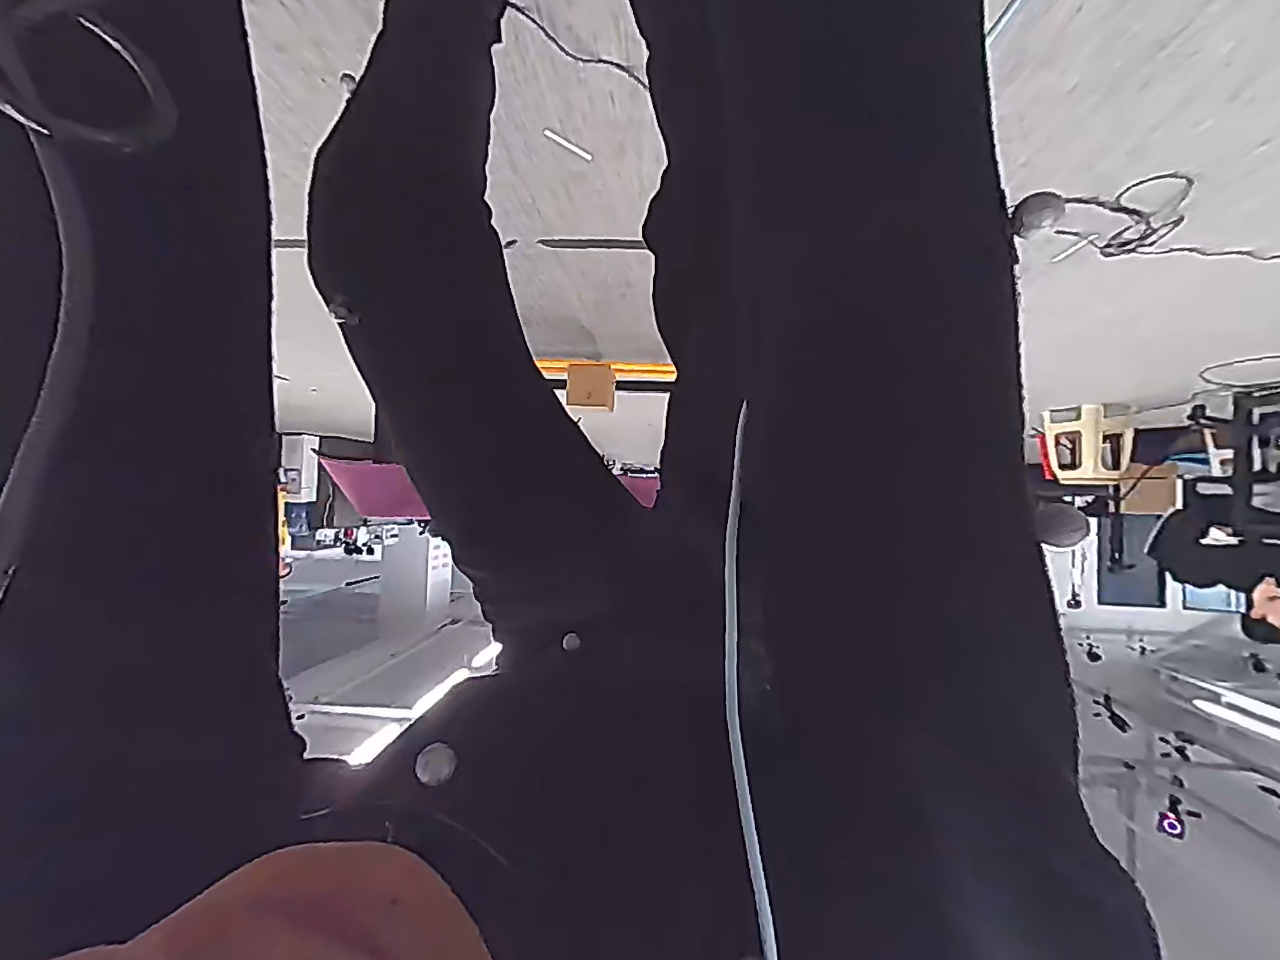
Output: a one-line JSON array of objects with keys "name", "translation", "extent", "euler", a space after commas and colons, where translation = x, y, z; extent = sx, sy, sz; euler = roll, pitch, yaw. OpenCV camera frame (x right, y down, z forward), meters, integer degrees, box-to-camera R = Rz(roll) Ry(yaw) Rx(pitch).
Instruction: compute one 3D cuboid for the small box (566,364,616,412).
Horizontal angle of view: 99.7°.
[{"name": "small box", "translation": [-0.198, -0.379, 2.233], "extent": [0.179, 0.176, 0.168], "euler": [2, 178, 6]}]
